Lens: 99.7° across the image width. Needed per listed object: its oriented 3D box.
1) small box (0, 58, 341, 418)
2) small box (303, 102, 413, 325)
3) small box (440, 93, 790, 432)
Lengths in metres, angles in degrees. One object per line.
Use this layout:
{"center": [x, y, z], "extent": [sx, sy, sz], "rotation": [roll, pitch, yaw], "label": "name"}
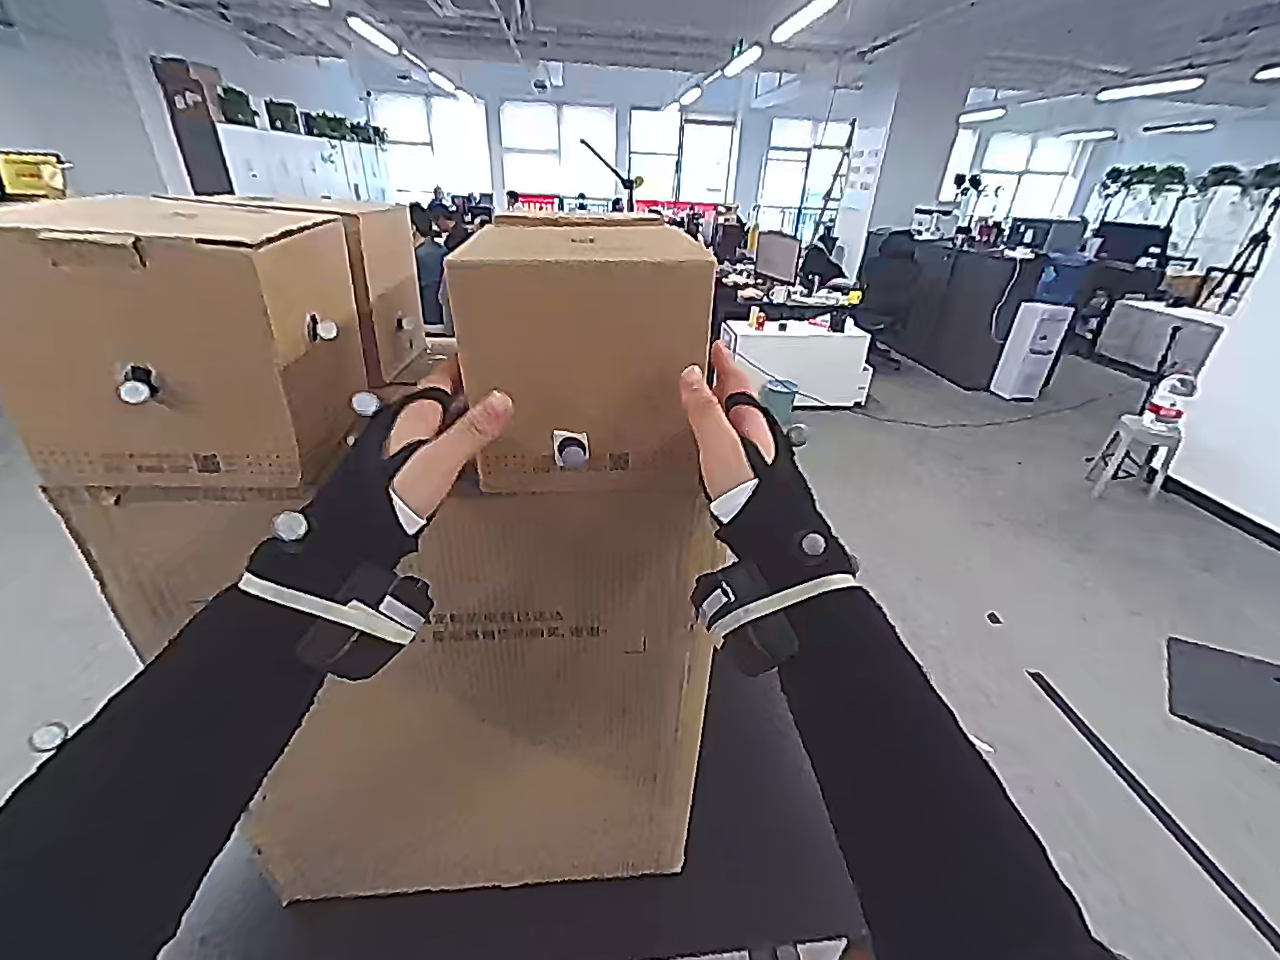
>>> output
{"center": [-0.304, -0.147, 0.331], "extent": [0.168, 0.176, 0.179], "rotation": [0, 32, -12], "label": "small box"}
{"center": [-0.333, -0.246, 0.507], "extent": [0.179, 0.176, 0.168], "rotation": [1, 29, -6], "label": "small box"}
{"center": [-0.020, -0.143, 0.359], "extent": [0.168, 0.176, 0.179], "rotation": [-4, 32, -6], "label": "small box"}
